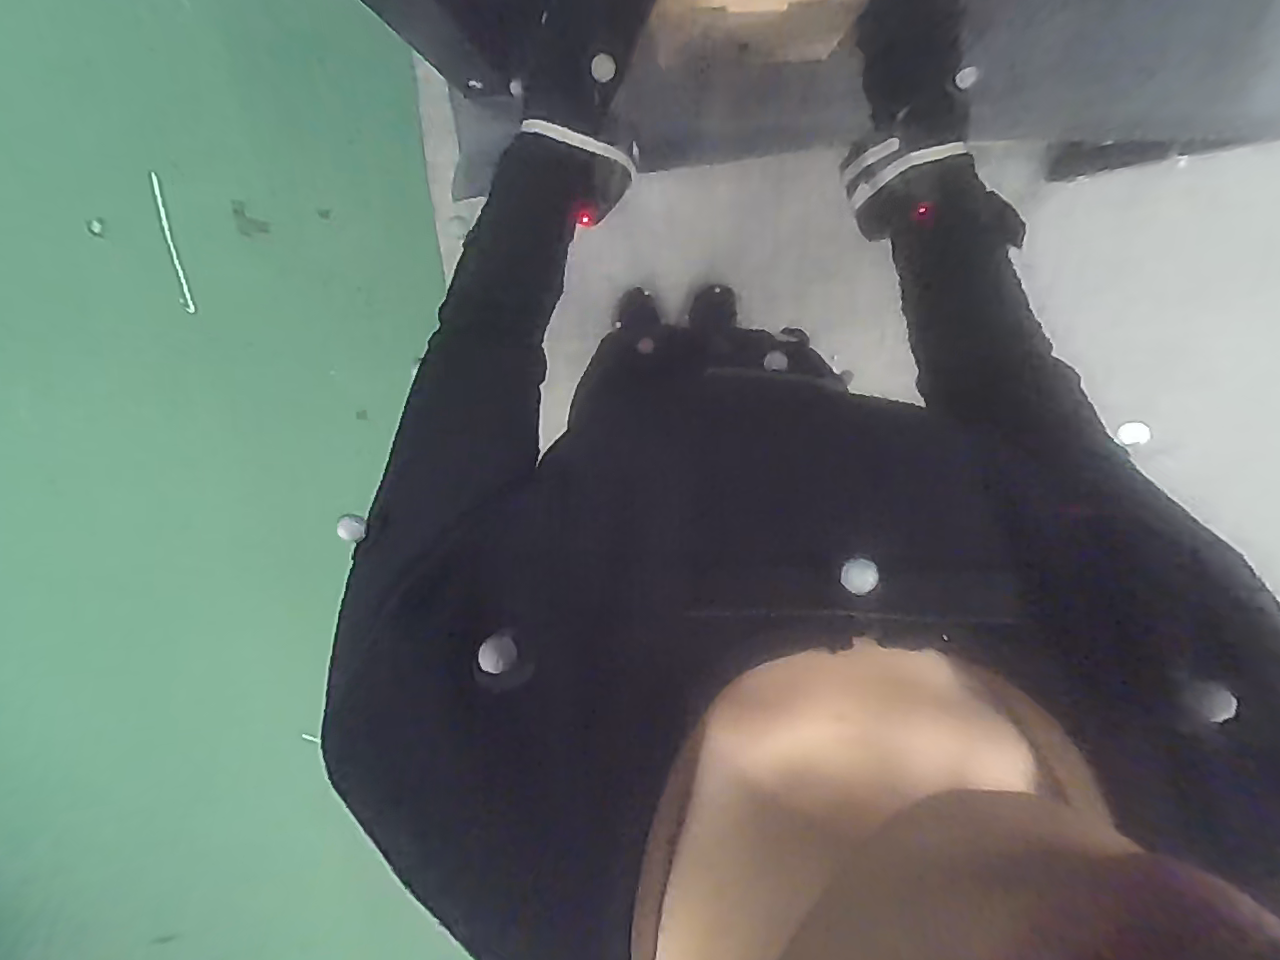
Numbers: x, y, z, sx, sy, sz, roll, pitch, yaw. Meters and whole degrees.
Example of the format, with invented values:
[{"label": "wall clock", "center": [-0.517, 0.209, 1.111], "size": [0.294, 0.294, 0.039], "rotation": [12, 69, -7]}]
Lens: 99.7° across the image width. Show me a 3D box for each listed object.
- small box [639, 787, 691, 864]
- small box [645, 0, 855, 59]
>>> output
[{"label": "small box", "center": [0.086, 1.220, 1.922], "size": [0.168, 0.176, 0.179], "rotation": [-7, 111, 5]}, {"label": "small box", "center": [0.085, -0.463, 0.424], "size": [0.168, 0.176, 0.179], "rotation": [1, 116, 5]}]
